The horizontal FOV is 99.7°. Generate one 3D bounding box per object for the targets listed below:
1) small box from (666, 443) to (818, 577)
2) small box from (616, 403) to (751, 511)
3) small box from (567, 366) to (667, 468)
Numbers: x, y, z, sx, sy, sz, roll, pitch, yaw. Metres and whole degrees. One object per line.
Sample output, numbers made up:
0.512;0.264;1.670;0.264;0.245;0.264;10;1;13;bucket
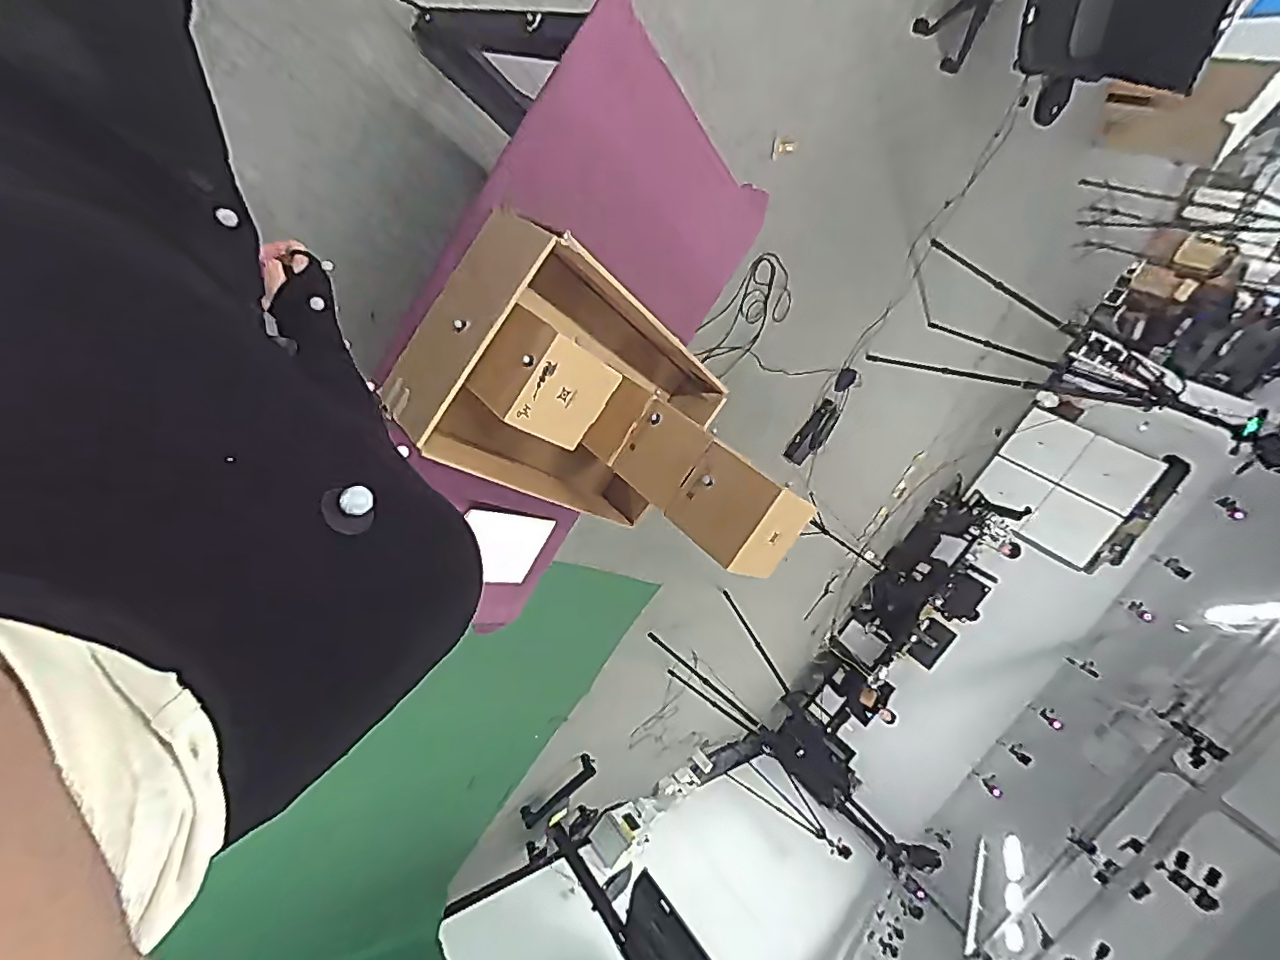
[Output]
0.183;0.054;0.979;0.179;0.176;0.168;22;105;-51;small box
0.085;-0.033;1.075;0.179;0.176;0.168;21;106;-53;small box
-0.021;-0.121;1.166;0.179;0.176;0.168;22;105;-52;small box
